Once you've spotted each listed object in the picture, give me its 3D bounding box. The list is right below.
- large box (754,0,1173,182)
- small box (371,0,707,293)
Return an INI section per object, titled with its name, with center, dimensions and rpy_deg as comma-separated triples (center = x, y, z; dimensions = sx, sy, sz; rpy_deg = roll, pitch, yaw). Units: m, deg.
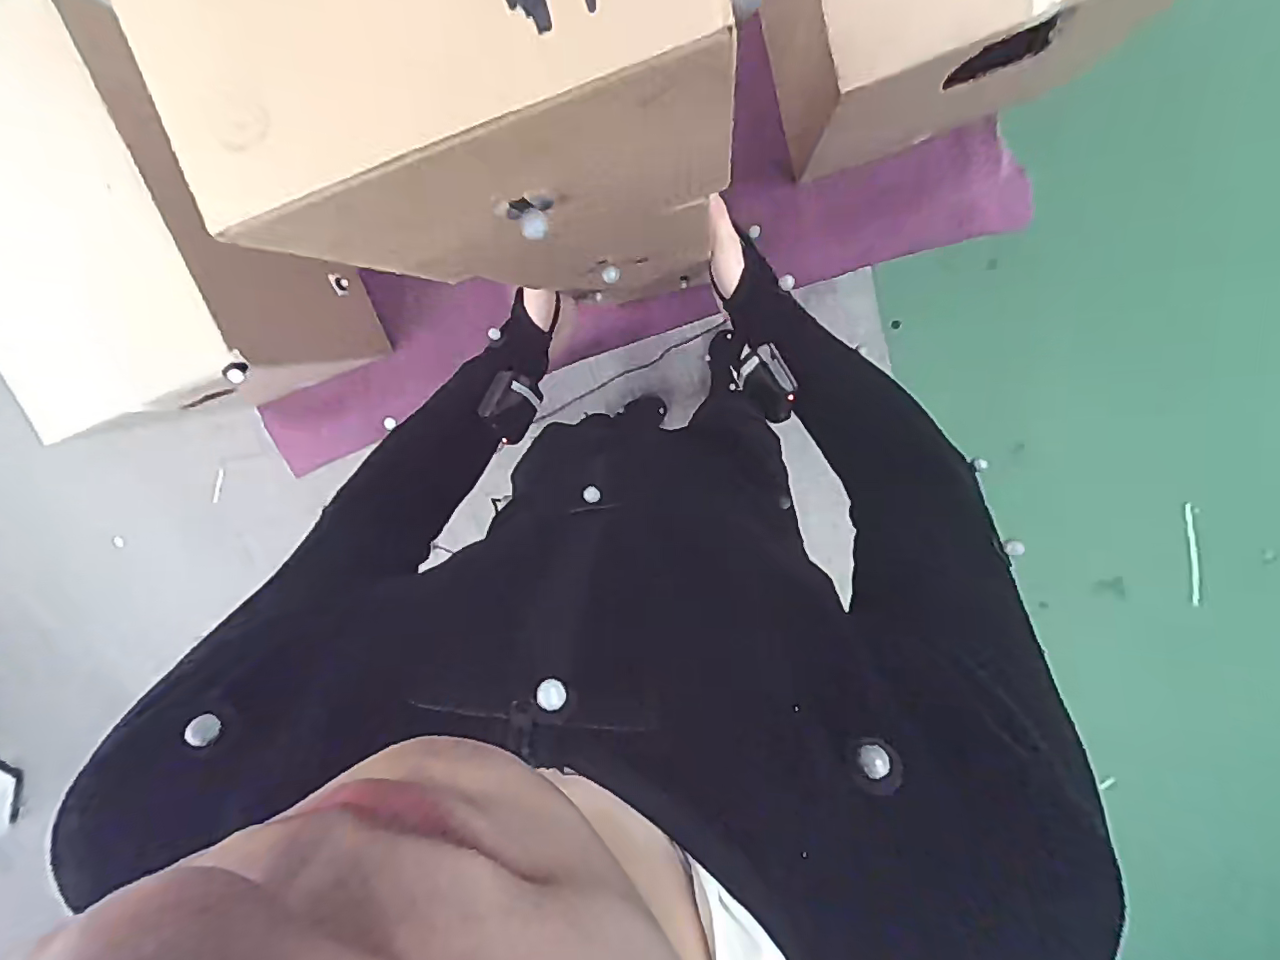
[large box]
center = 0.277, -0.584, 0.524
dimensions = 0.320, 0.320, 0.408
rpy_deg = -15, 104, 14
[small box]
center = -0.048, -0.240, 0.373
dimensions = 0.168, 0.176, 0.179
rpy_deg = -9, 103, 11
